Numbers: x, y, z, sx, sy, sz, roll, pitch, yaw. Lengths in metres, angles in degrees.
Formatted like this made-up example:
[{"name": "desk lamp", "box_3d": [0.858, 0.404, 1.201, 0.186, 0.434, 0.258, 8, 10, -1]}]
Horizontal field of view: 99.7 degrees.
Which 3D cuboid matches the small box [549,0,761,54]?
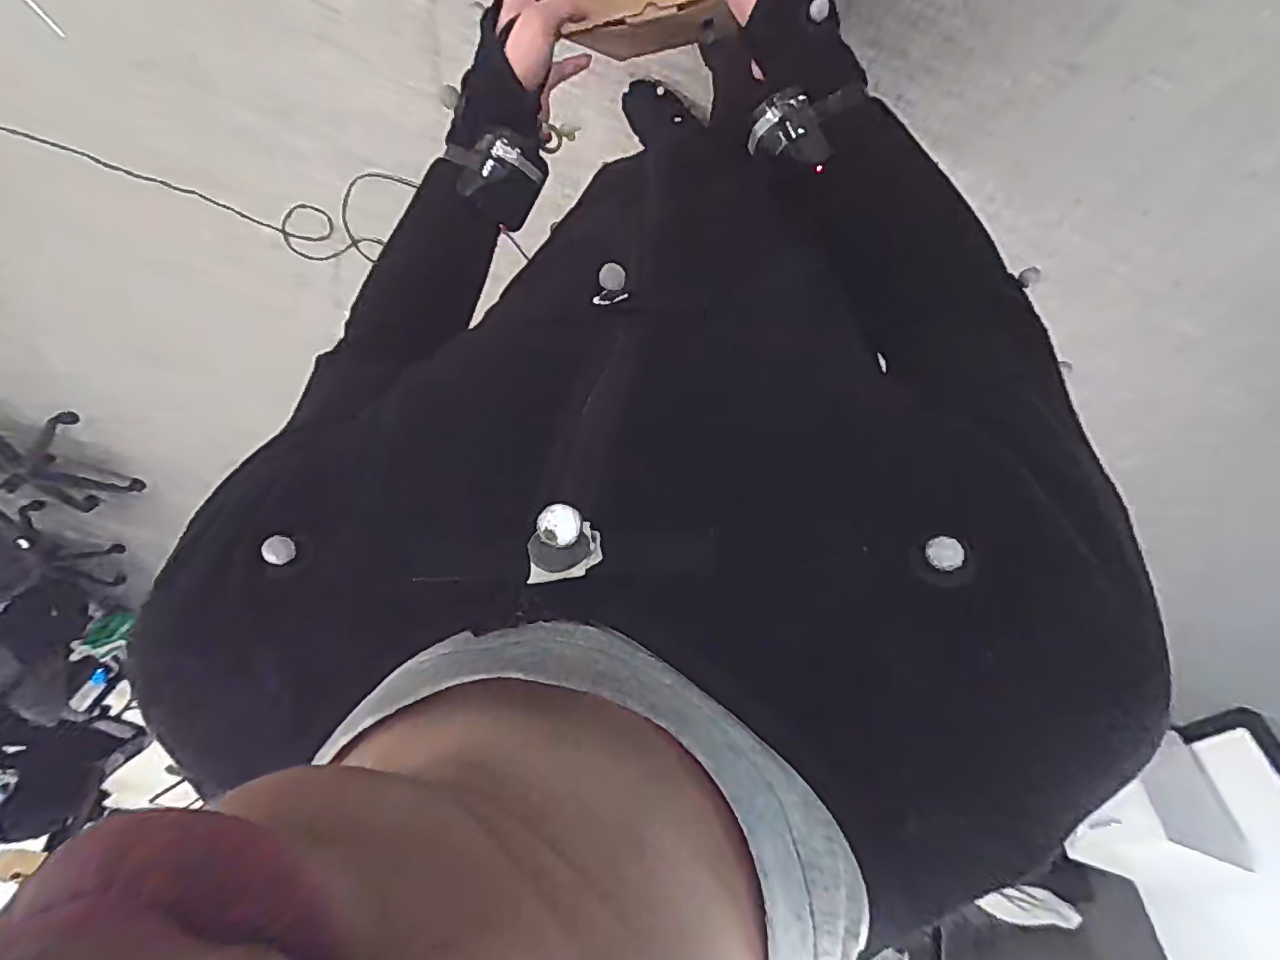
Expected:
[{"name": "small box", "box_3d": [0.013, -0.501, 0.472, 0.168, 0.176, 0.179, 0, 119, 18]}]
